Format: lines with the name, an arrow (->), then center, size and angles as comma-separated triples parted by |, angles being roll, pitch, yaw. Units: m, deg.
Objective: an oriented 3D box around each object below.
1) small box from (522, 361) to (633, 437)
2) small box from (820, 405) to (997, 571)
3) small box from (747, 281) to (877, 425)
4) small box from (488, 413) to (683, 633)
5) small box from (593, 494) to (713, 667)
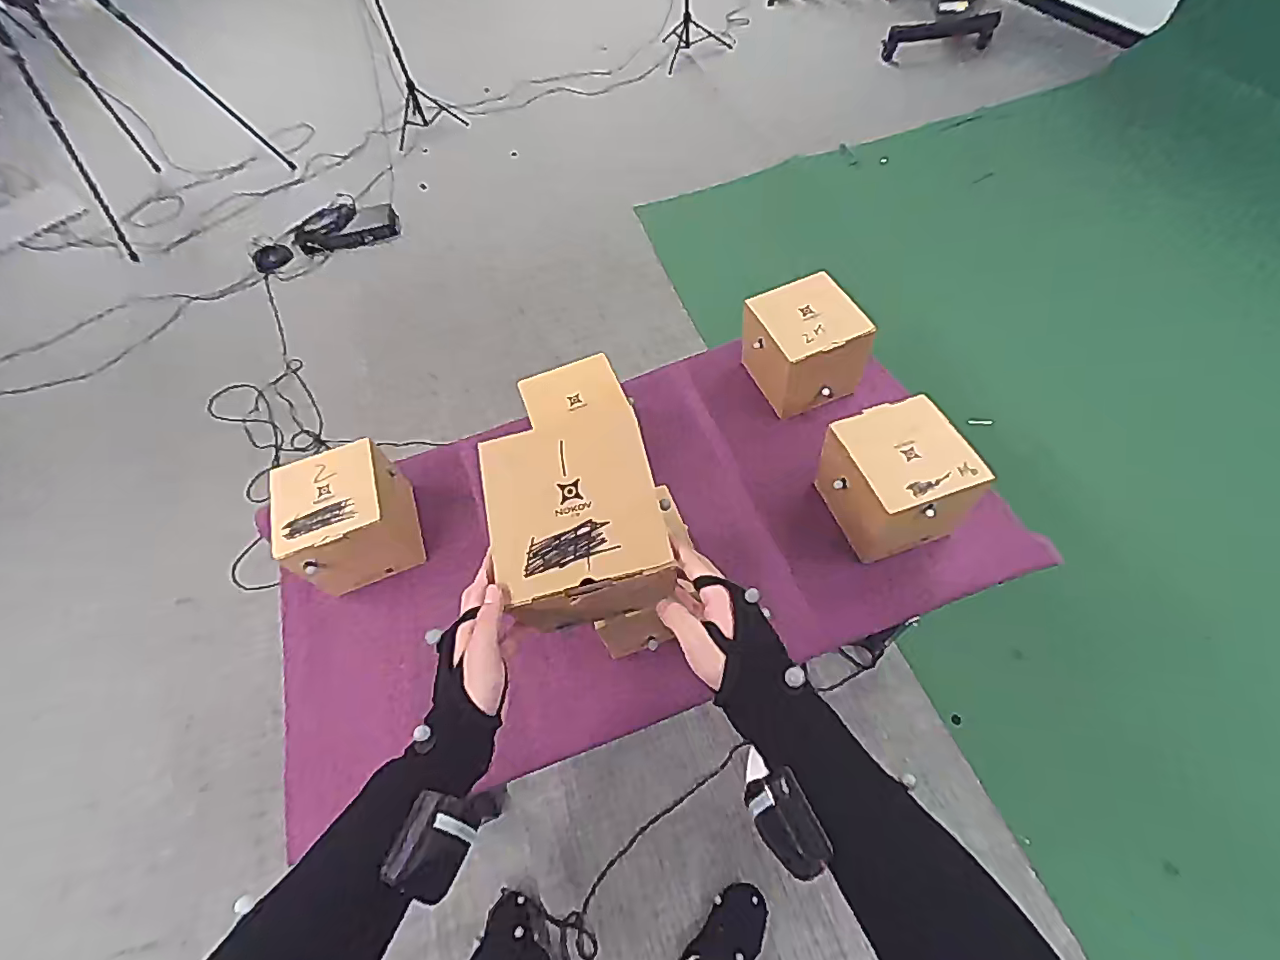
small box -> -0.098, -0.076, 0.974 | 0.168, 0.176, 0.179 | -20, 59, -7
small box -> 0.406, 0.016, 0.857 | 0.168, 0.176, 0.179 | -18, 55, -4
small box -> 0.311, -0.236, 1.027 | 0.168, 0.176, 0.179 | -21, 58, -4
small box -> -0.051, 0.058, 0.585 | 0.168, 0.176, 0.179 | -14, 64, -2
small box -> 0.001, 0.154, 0.814 | 0.168, 0.176, 0.179 | -19, 57, -5
